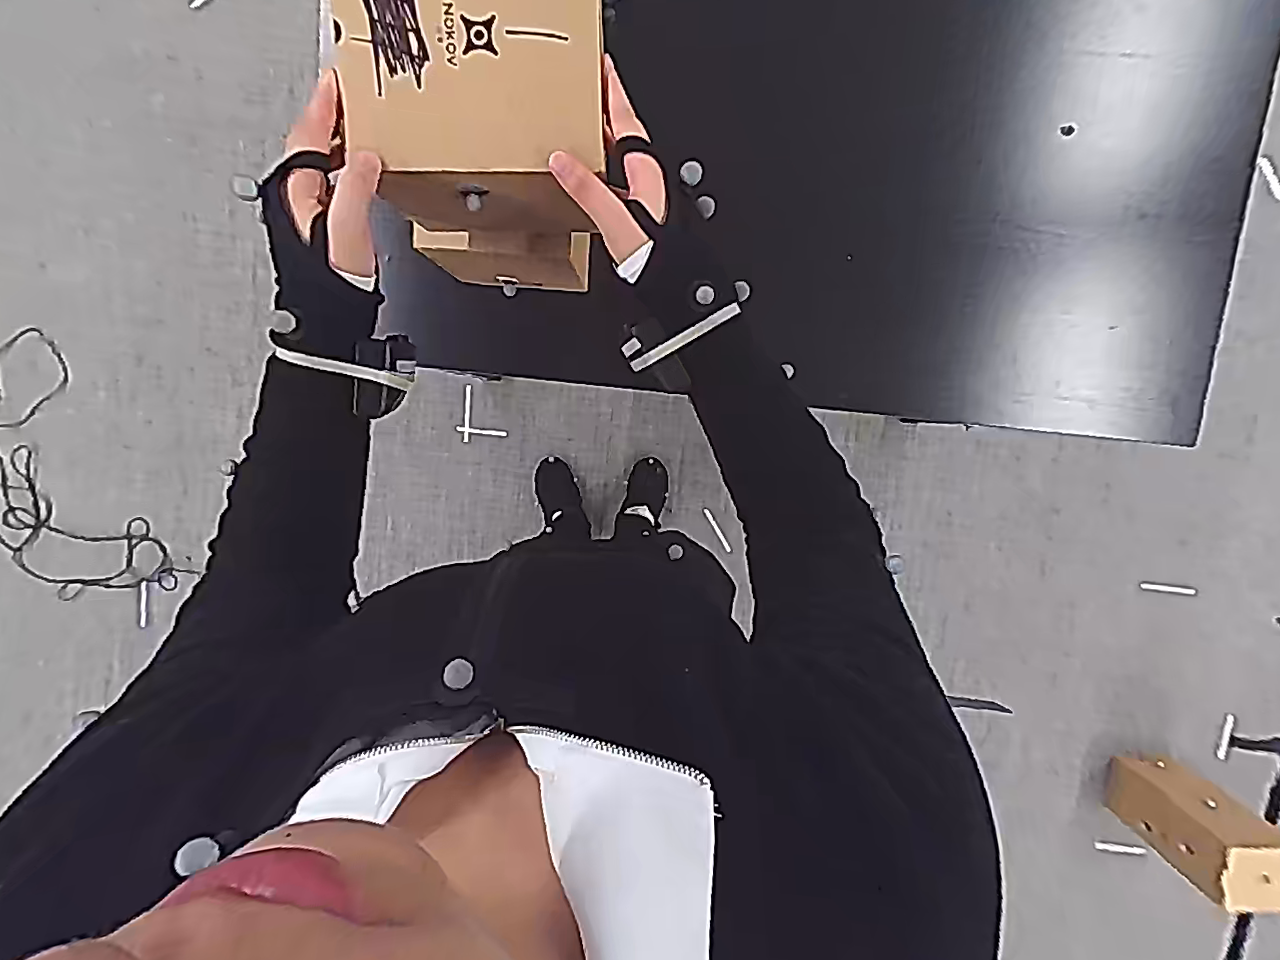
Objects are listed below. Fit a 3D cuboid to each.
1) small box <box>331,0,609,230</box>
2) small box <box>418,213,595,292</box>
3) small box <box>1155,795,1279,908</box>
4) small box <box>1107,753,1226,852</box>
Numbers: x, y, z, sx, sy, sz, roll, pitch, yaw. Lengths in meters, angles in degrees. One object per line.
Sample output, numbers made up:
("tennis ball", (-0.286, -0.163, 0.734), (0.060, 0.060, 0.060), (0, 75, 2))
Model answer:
("small box", (-0.115, -0.307, 0.431), (0.179, 0.176, 0.168), (-1, 101, -2))
("small box", (-0.142, -0.332, 0.629), (0.168, 0.176, 0.179), (3, 97, 1))
("small box", (1.442, 0.911, 1.340), (0.179, 0.176, 0.168), (-1, 97, 1))
("small box", (1.452, 0.894, 1.503), (0.168, 0.176, 0.179), (0, 97, 0))
